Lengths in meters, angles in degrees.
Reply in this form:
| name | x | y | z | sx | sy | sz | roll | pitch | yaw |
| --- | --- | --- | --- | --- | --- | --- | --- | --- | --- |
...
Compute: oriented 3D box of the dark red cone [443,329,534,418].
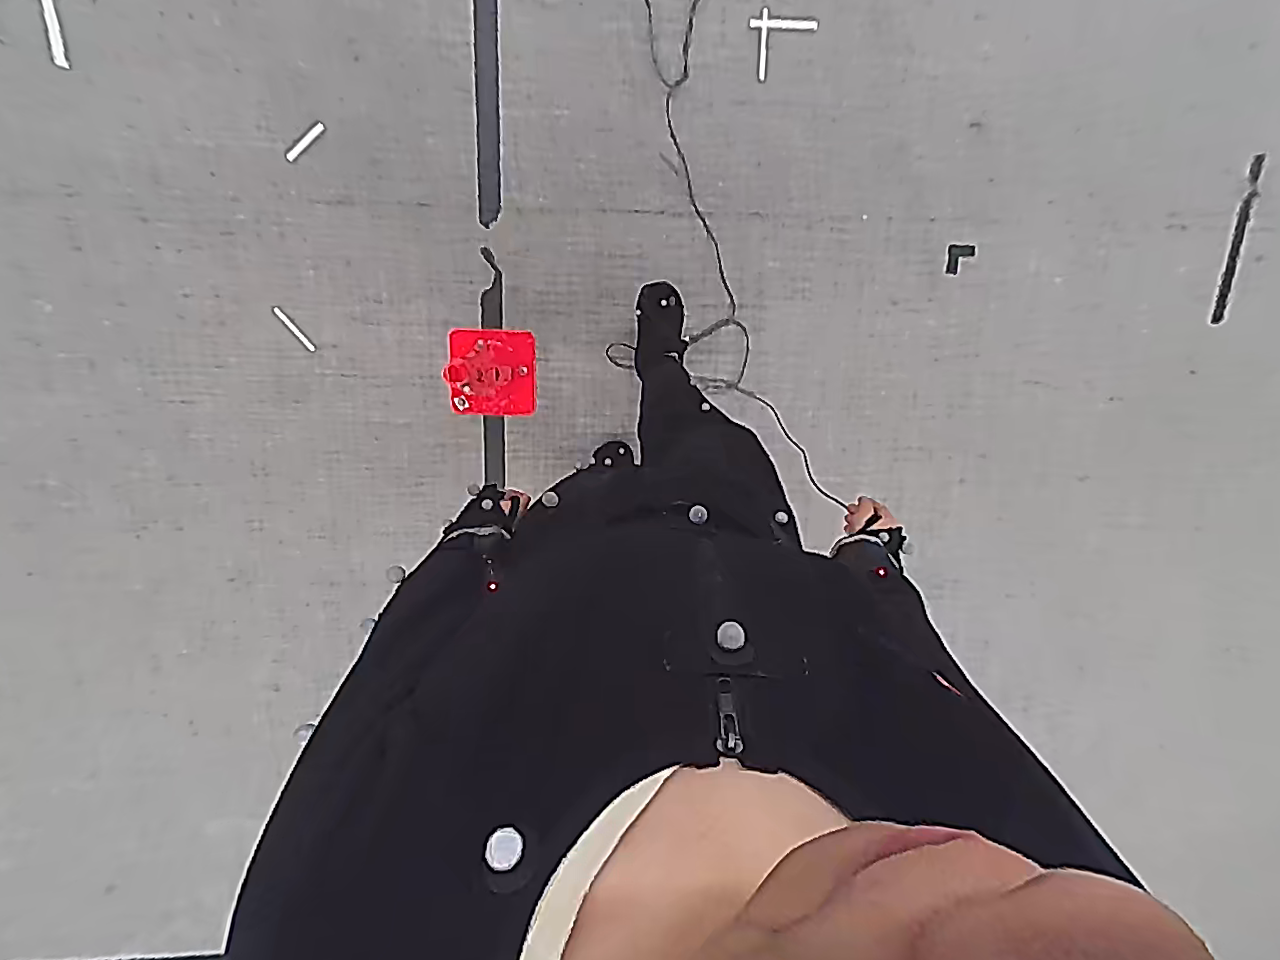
| name | x | y | z | sx | sy | sz | roll | pitch | yaw |
| --- | --- | --- | --- | --- | --- | --- | --- | --- | --- |
| dark red cone | -0.332 | -0.214 | 1.091 | 0.201 | 0.394 | 0.202 | 0 | 101 | -6 |
